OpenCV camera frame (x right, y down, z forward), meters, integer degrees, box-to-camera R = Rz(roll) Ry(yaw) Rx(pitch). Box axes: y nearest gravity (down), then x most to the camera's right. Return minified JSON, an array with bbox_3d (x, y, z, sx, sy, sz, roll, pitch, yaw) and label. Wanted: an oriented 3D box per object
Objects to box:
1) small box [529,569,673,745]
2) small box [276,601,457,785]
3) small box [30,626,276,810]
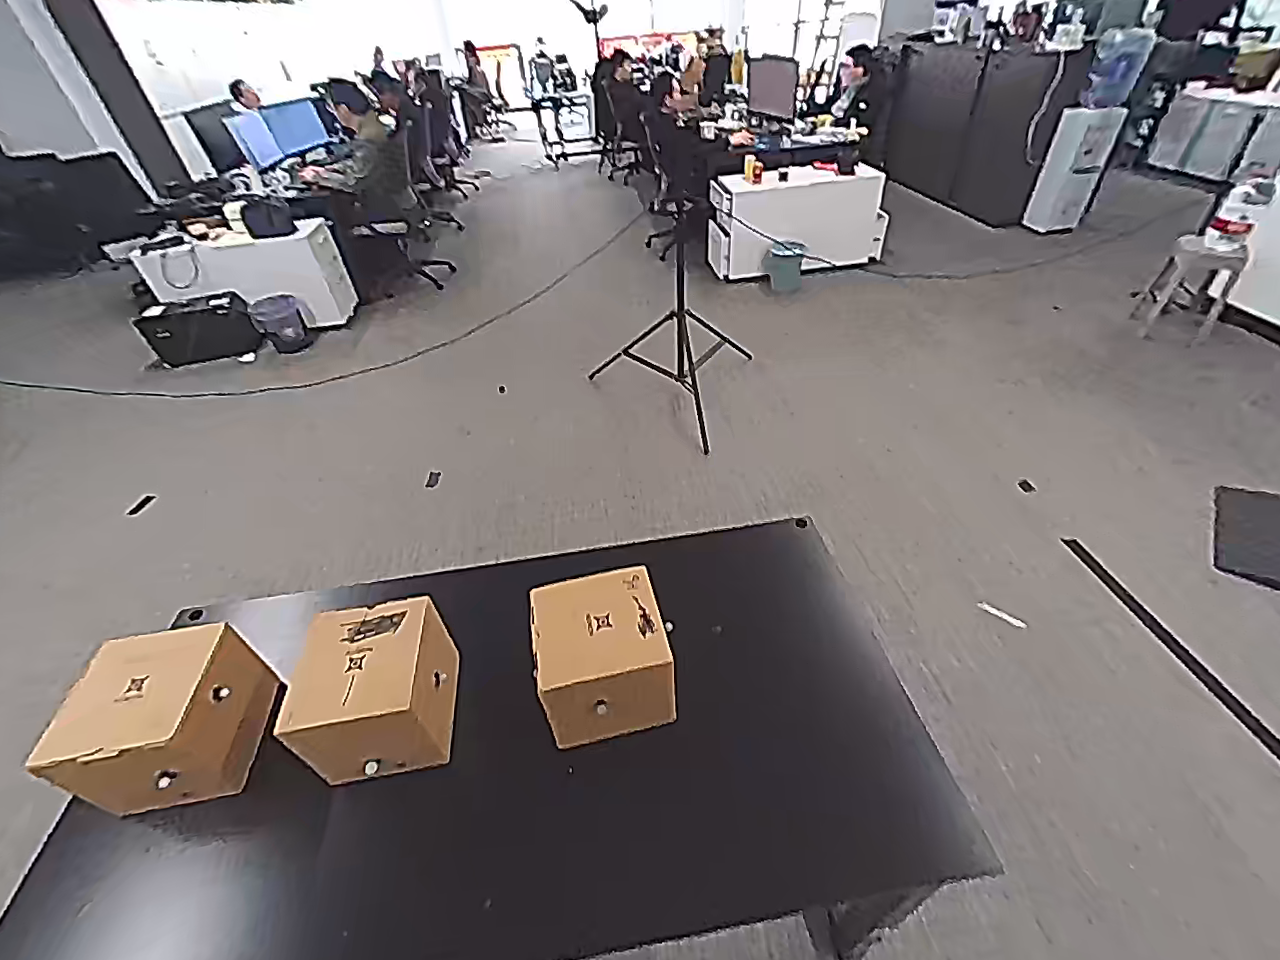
[{"bbox_3d":[-0.056,0.262,0.795,0.179,0.176,0.168,-12,41,-7],"label":"small box"},{"bbox_3d":[-0.371,0.303,0.777,0.168,0.176,0.179,-9,42,-5],"label":"small box"},{"bbox_3d":[-0.656,0.339,0.763,0.168,0.176,0.179,-8,40,-6],"label":"small box"}]
